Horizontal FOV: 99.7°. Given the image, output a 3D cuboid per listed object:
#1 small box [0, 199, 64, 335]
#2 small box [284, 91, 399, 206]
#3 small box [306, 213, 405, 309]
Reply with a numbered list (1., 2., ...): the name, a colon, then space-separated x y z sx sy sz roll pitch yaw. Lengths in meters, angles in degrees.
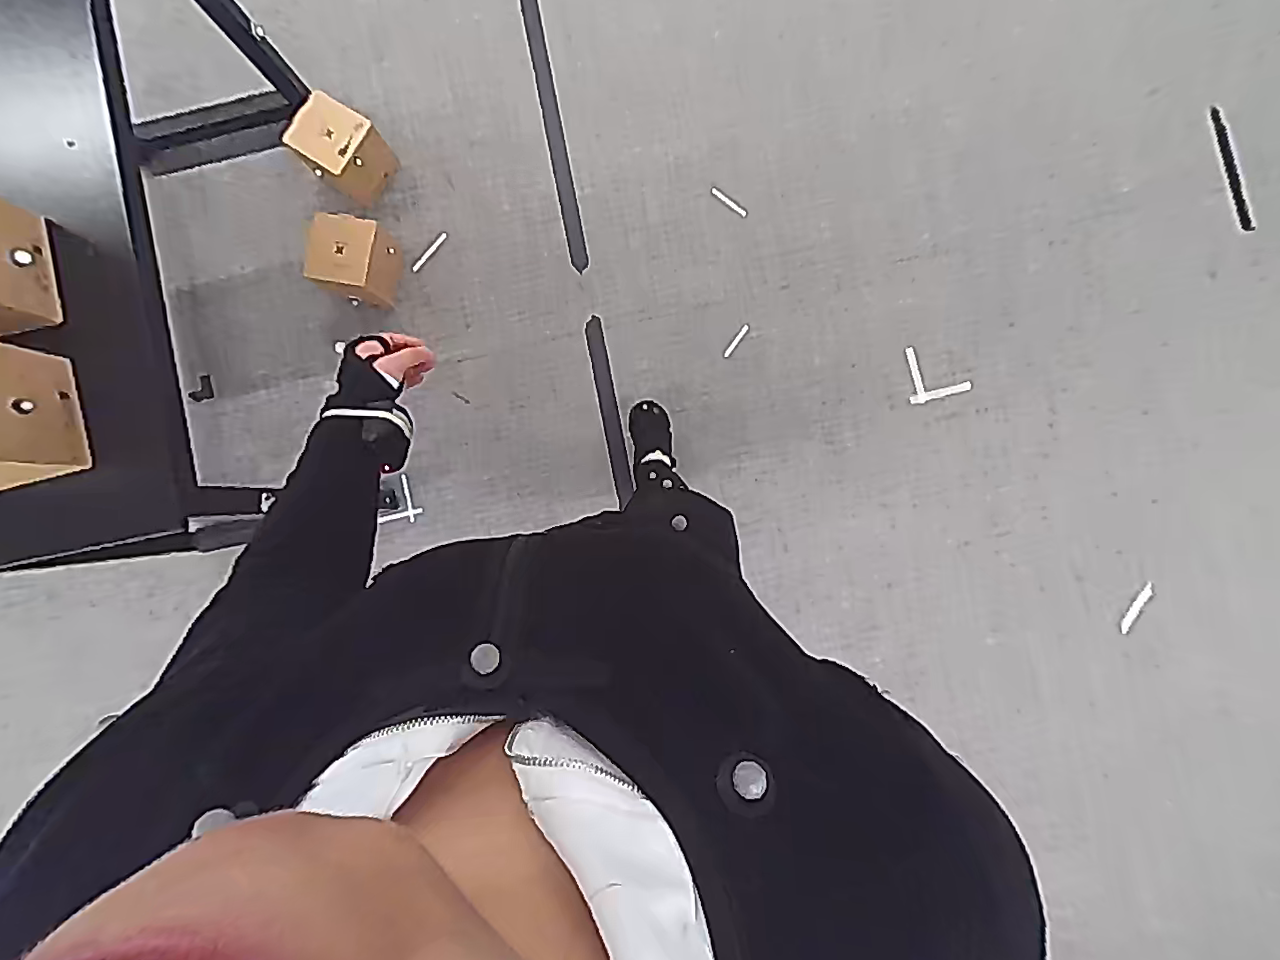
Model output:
1. small box: -0.947 -0.293 0.720 0.179 0.176 0.168 -12 88 0
2. small box: -0.797 -0.884 1.462 0.179 0.176 0.168 32 89 1
3. small box: -0.757 -0.583 1.456 0.168 0.176 0.179 9 90 2
